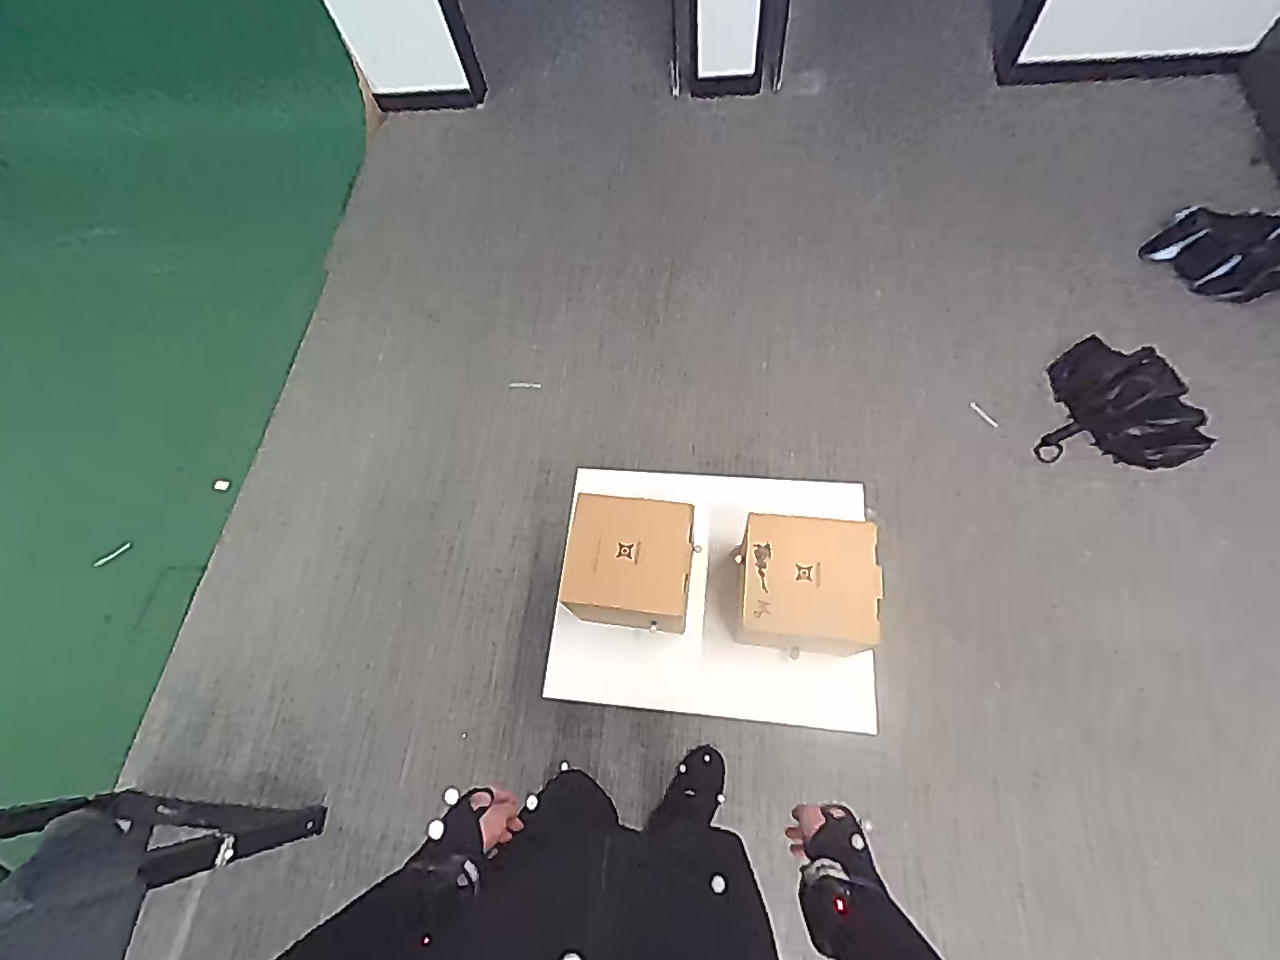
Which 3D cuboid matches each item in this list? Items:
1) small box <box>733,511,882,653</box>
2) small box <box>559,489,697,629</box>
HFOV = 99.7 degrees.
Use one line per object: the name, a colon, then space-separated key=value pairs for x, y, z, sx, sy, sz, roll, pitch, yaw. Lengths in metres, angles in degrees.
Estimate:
small box: x=0.237 y=0.156 z=0.795 sx=0.179 sy=0.176 sz=0.168 roll=6 pitch=68 yaw=7
small box: x=-0.008 y=0.128 z=0.829 sx=0.179 sy=0.176 sz=0.168 roll=5 pitch=67 yaw=7
